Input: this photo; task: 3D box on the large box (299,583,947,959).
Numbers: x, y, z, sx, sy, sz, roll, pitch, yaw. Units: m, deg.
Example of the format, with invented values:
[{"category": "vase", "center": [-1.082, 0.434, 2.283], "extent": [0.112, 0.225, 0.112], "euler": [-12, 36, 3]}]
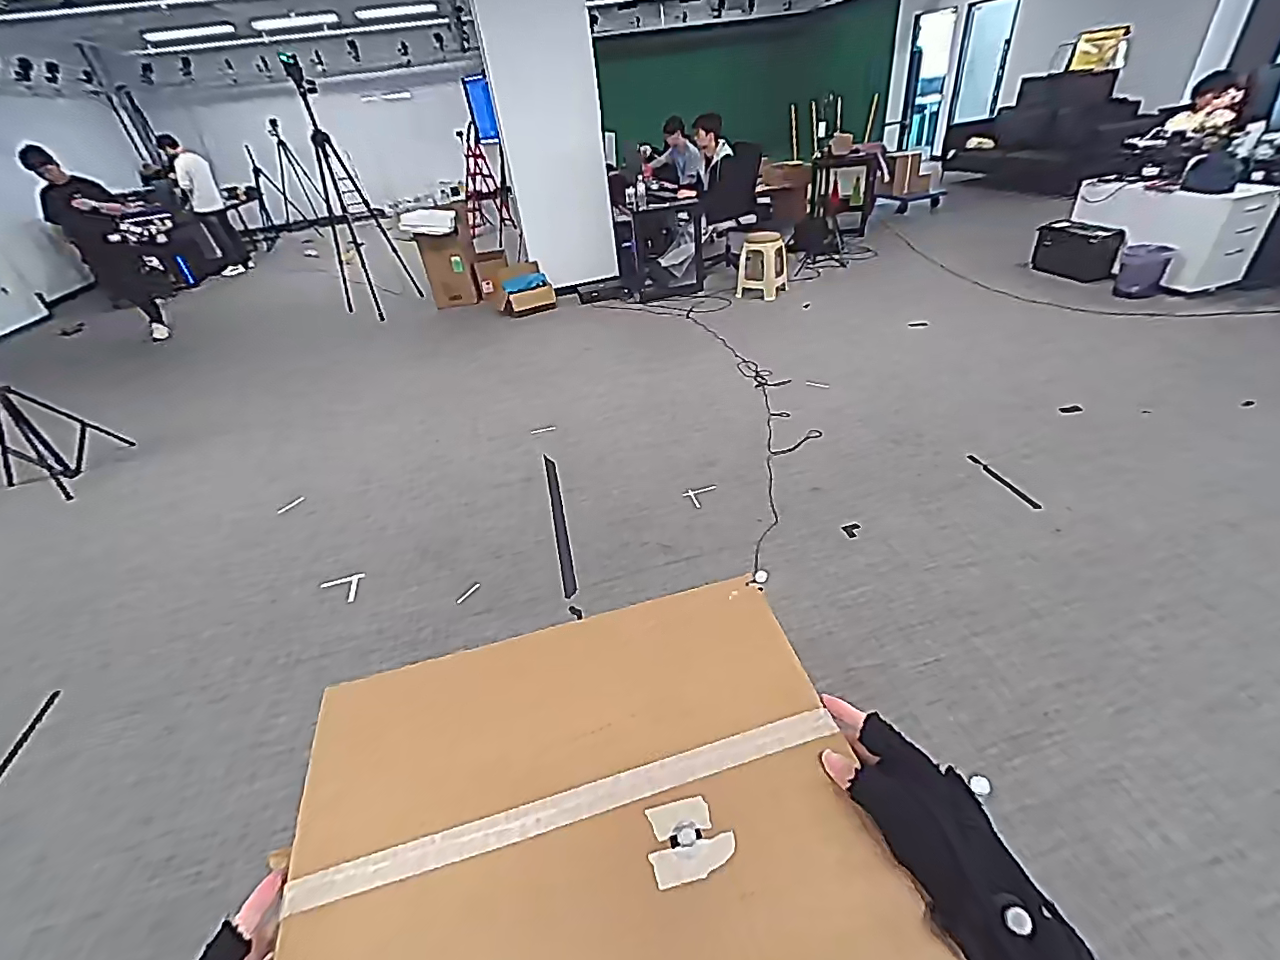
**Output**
[{"category": "large box", "center": [-0.031, 0.355, 0.504], "extent": [0.408, 0.320, 0.320], "euler": [-13, 42, -10]}]
